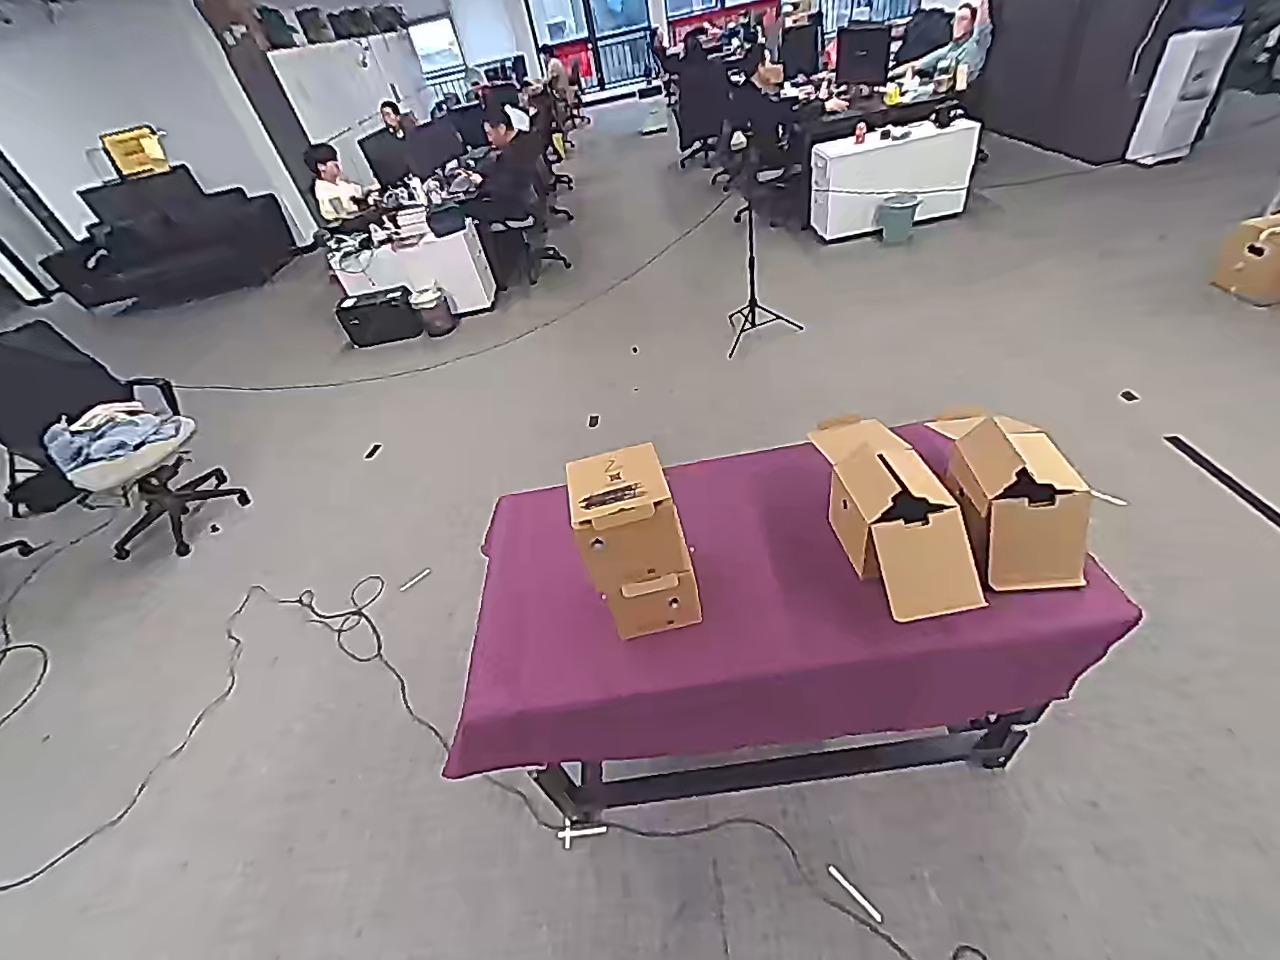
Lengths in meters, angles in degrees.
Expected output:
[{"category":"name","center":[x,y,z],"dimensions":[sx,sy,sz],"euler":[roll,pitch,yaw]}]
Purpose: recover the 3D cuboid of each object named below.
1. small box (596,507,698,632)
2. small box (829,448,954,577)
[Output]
[{"category":"small box","center":[0.015,0.185,1.082],"dimensions":[0.168,0.176,0.179],"euler":[-12,41,0]},{"category":"small box","center":[0.488,0.066,1.083],"dimensions":[0.168,0.176,0.179],"euler":[-12,42,3]}]
